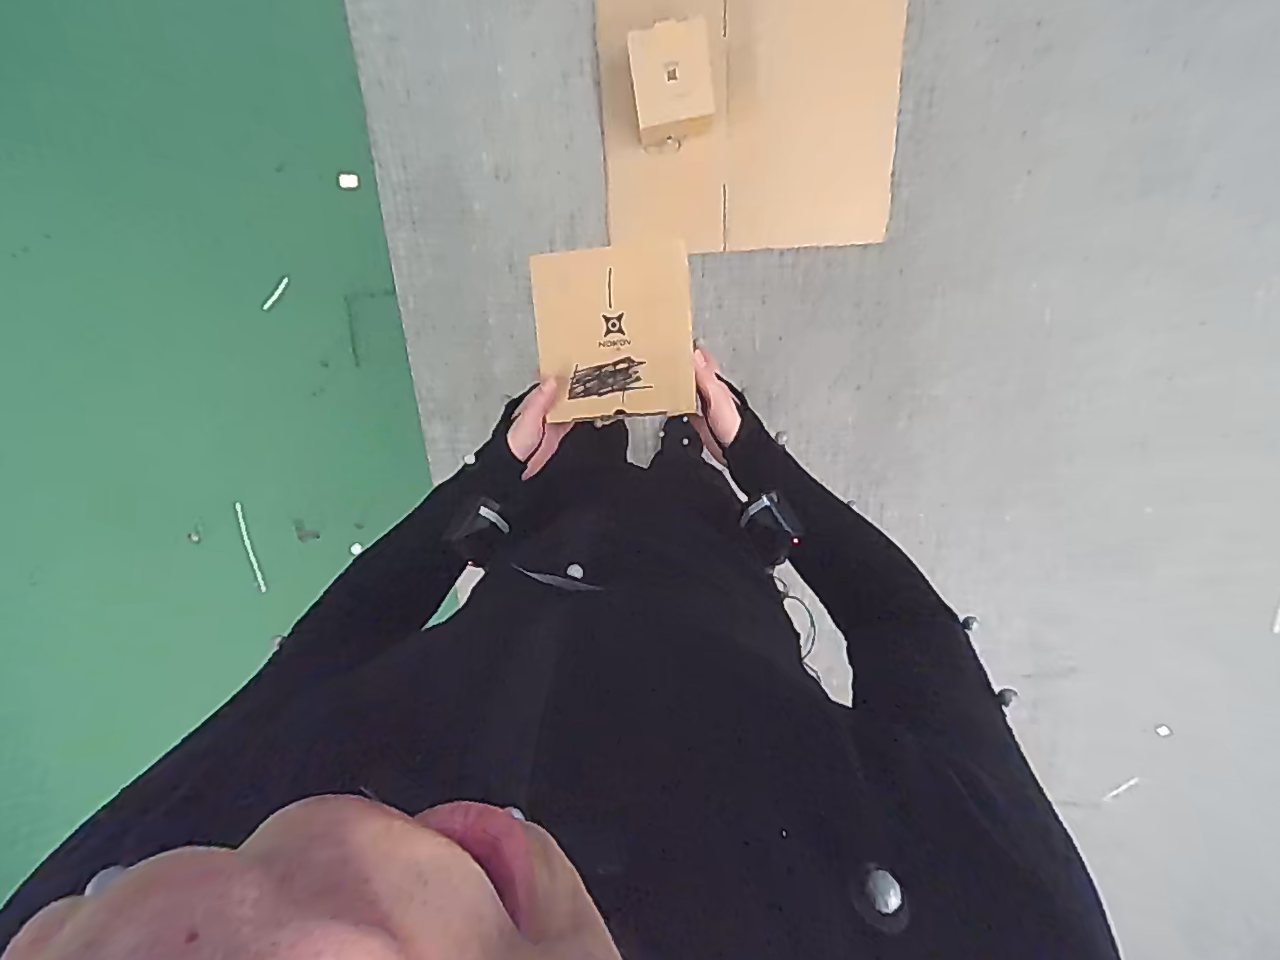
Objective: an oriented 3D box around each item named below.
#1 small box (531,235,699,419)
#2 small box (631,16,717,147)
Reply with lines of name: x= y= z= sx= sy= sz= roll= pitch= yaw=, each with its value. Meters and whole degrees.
small box: x=-0.017 y=-0.167 z=0.635 sx=0.168 sy=0.176 sz=0.179 roll=-3 pitch=97 yaw=7
small box: x=0.075 y=-0.868 z=1.194 sx=0.168 sy=0.176 sz=0.179 roll=-7 pitch=108 yaw=6
